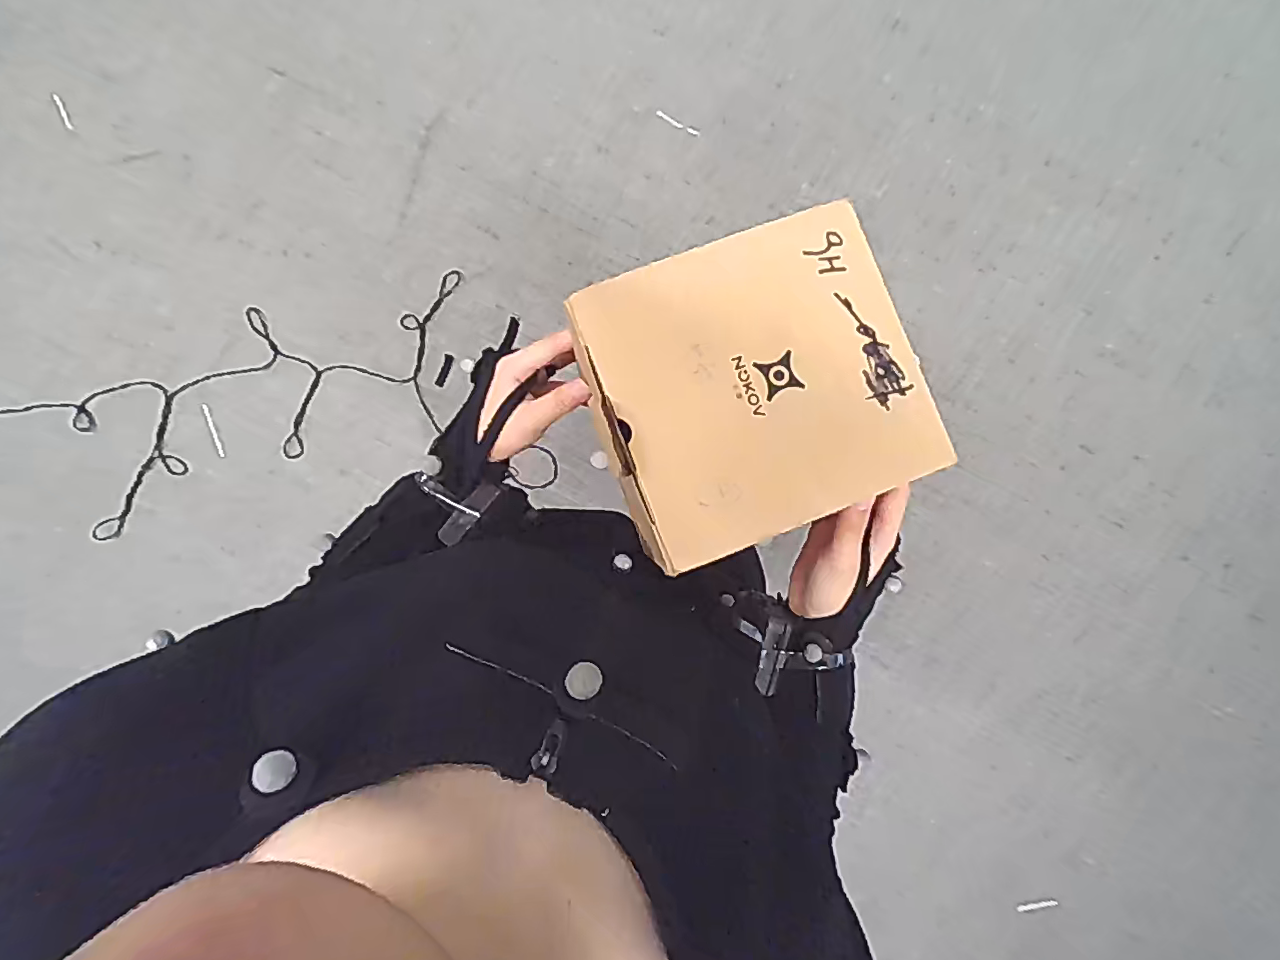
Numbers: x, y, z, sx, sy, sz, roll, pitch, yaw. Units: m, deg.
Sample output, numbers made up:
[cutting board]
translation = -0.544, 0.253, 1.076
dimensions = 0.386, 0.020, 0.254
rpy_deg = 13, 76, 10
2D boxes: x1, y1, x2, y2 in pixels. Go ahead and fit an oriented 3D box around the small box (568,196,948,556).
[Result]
[small box]
translation = 0.065, -0.055, 0.386
dimensions = 0.179, 0.176, 0.168
rpy_deg = -22, 87, -4
